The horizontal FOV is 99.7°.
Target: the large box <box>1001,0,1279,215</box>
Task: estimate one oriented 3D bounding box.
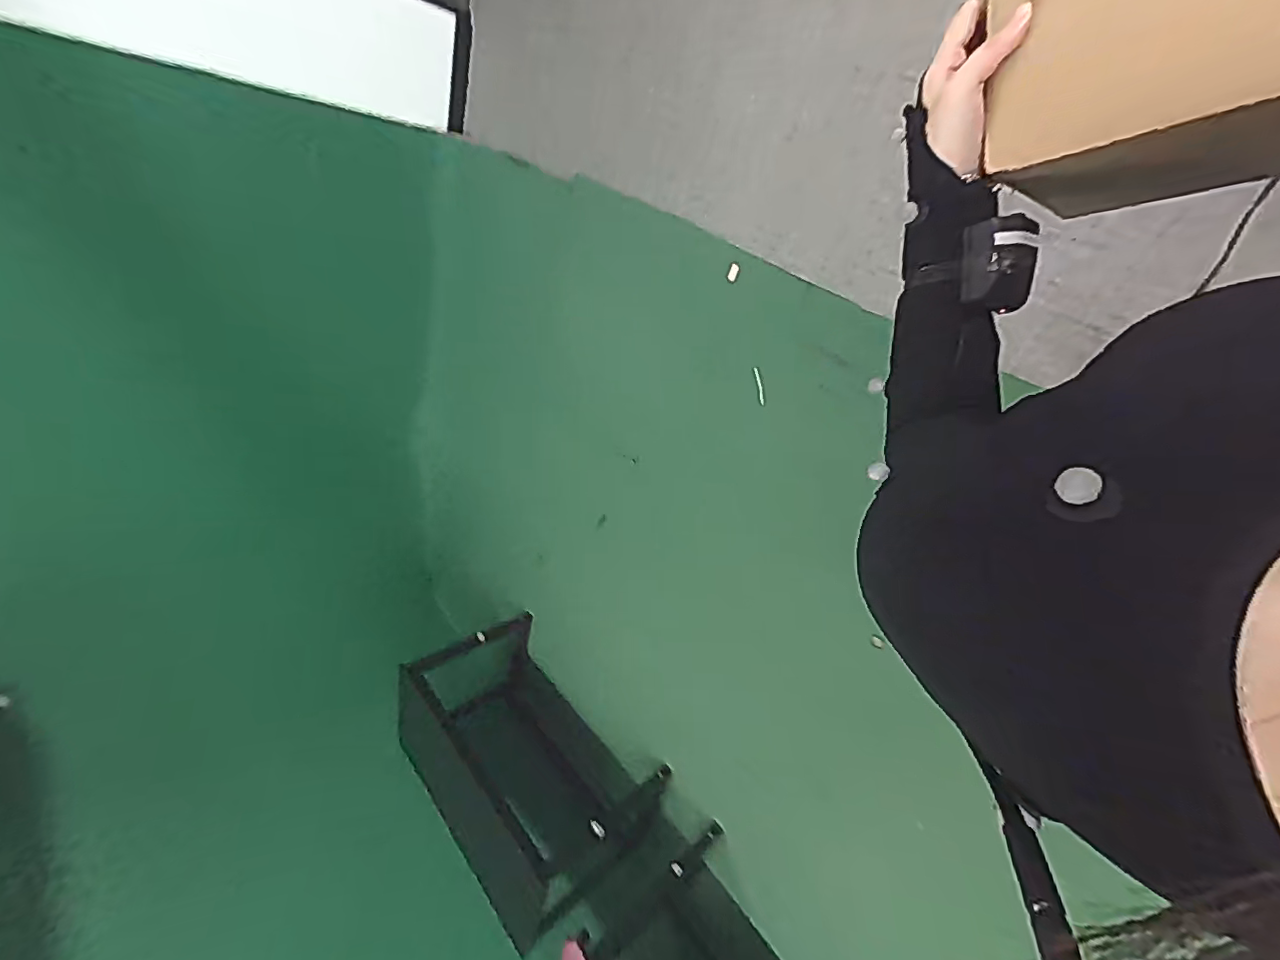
[{"bbox_3d":[0.496,-0.408,0.346,0.408,0.320,0.320,4,106,45],"label":"large box"}]
